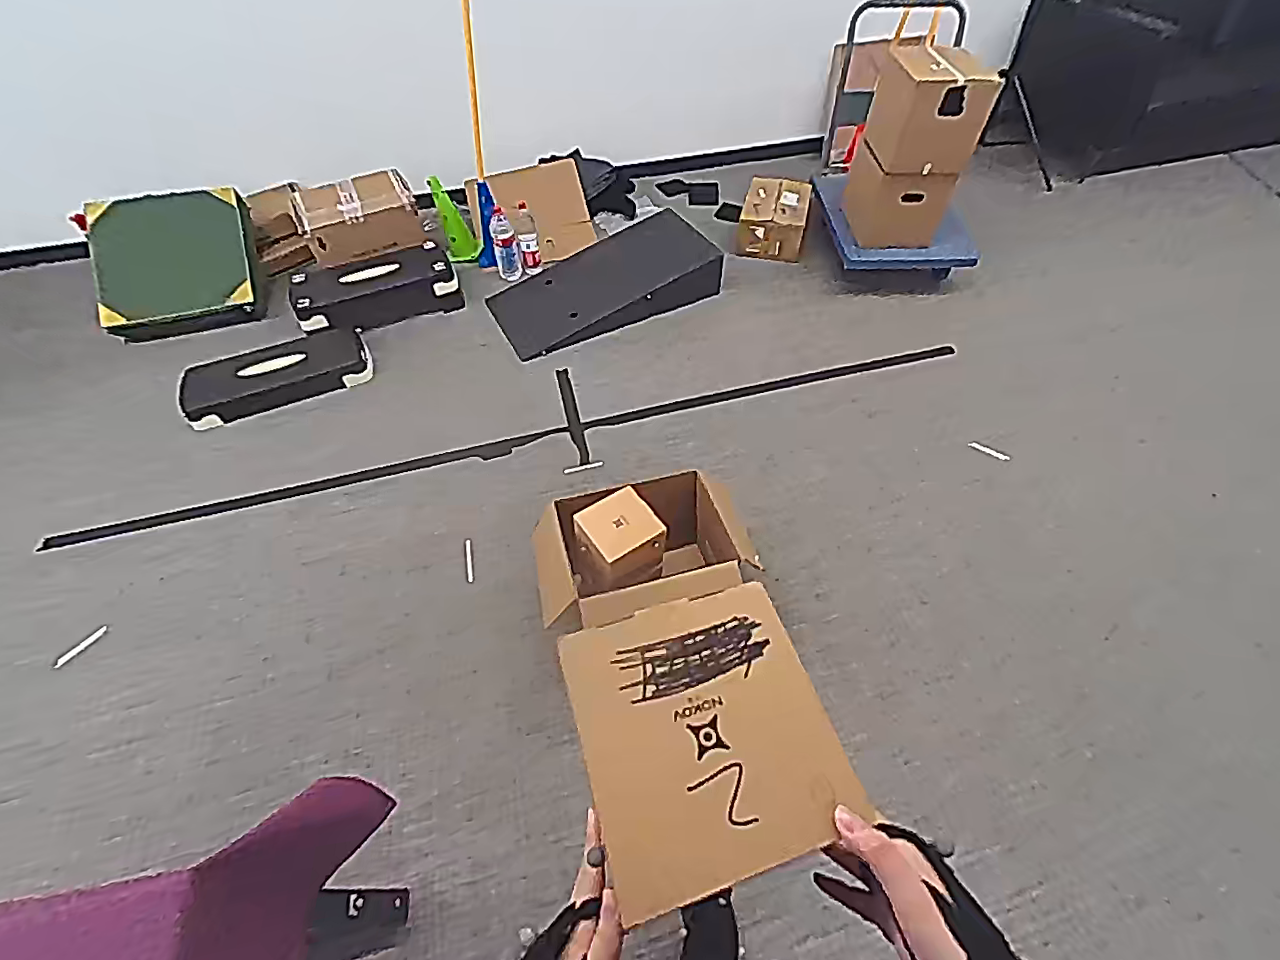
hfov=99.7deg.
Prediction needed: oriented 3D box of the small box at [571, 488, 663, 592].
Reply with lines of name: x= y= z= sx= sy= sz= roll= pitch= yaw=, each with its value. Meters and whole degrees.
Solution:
small box: x=-0.059 y=0.160 z=1.401 sx=0.179 sy=0.176 sz=0.168 roll=-28 pitch=59 yaw=-24
